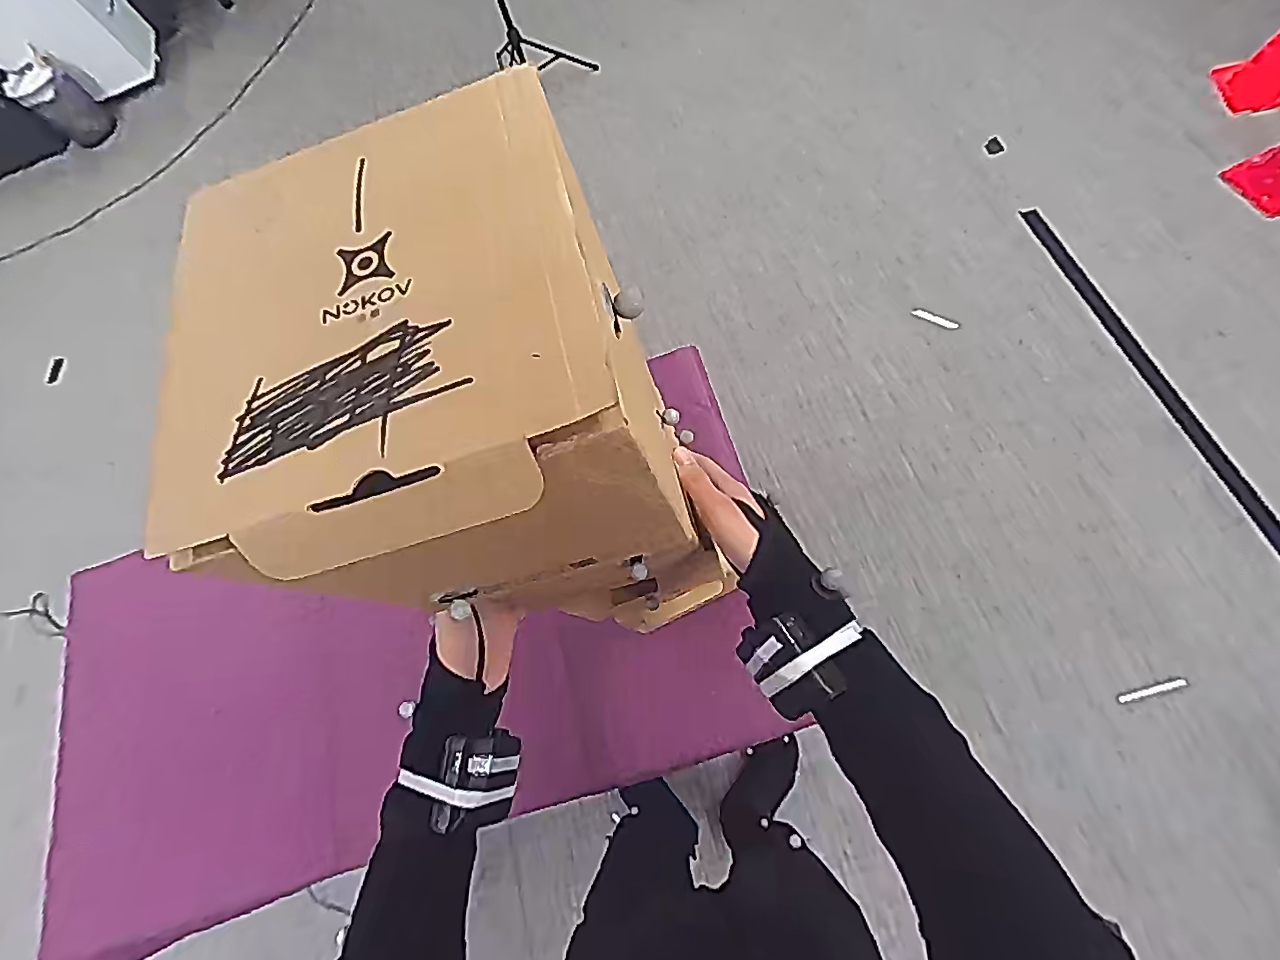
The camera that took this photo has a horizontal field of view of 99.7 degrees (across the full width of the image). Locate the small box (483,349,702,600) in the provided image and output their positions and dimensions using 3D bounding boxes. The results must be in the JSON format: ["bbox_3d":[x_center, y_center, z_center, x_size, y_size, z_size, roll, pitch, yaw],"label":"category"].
[{"bbox_3d":[-0.053,-0.008,0.440,0.168,0.176,0.179,-17,68,6],"label":"small box"}]

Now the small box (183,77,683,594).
[{"bbox_3d":[-0.082,-0.046,0.282,0.168,0.176,0.179,-17,68,6],"label":"small box"}]

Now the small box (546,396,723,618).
[{"bbox_3d":[-0.016,0.038,0.592,0.168,0.176,0.179,-20,68,6],"label":"small box"}]
